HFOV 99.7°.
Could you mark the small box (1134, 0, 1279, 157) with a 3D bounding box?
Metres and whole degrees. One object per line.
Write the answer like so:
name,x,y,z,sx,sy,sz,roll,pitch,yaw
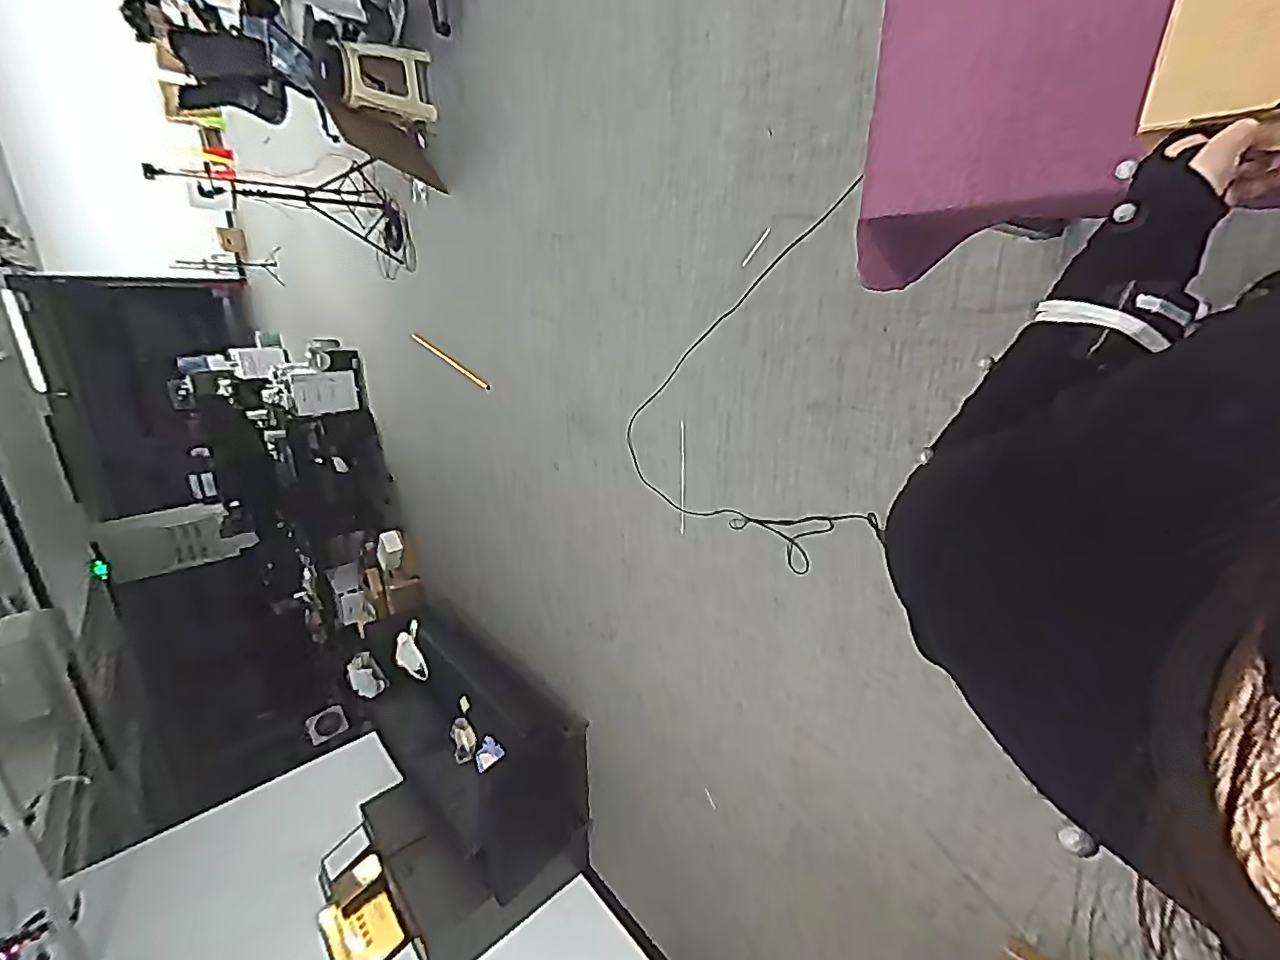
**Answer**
small box,0.520,-0.359,0.407,0.168,0.176,0.179,22,117,44
